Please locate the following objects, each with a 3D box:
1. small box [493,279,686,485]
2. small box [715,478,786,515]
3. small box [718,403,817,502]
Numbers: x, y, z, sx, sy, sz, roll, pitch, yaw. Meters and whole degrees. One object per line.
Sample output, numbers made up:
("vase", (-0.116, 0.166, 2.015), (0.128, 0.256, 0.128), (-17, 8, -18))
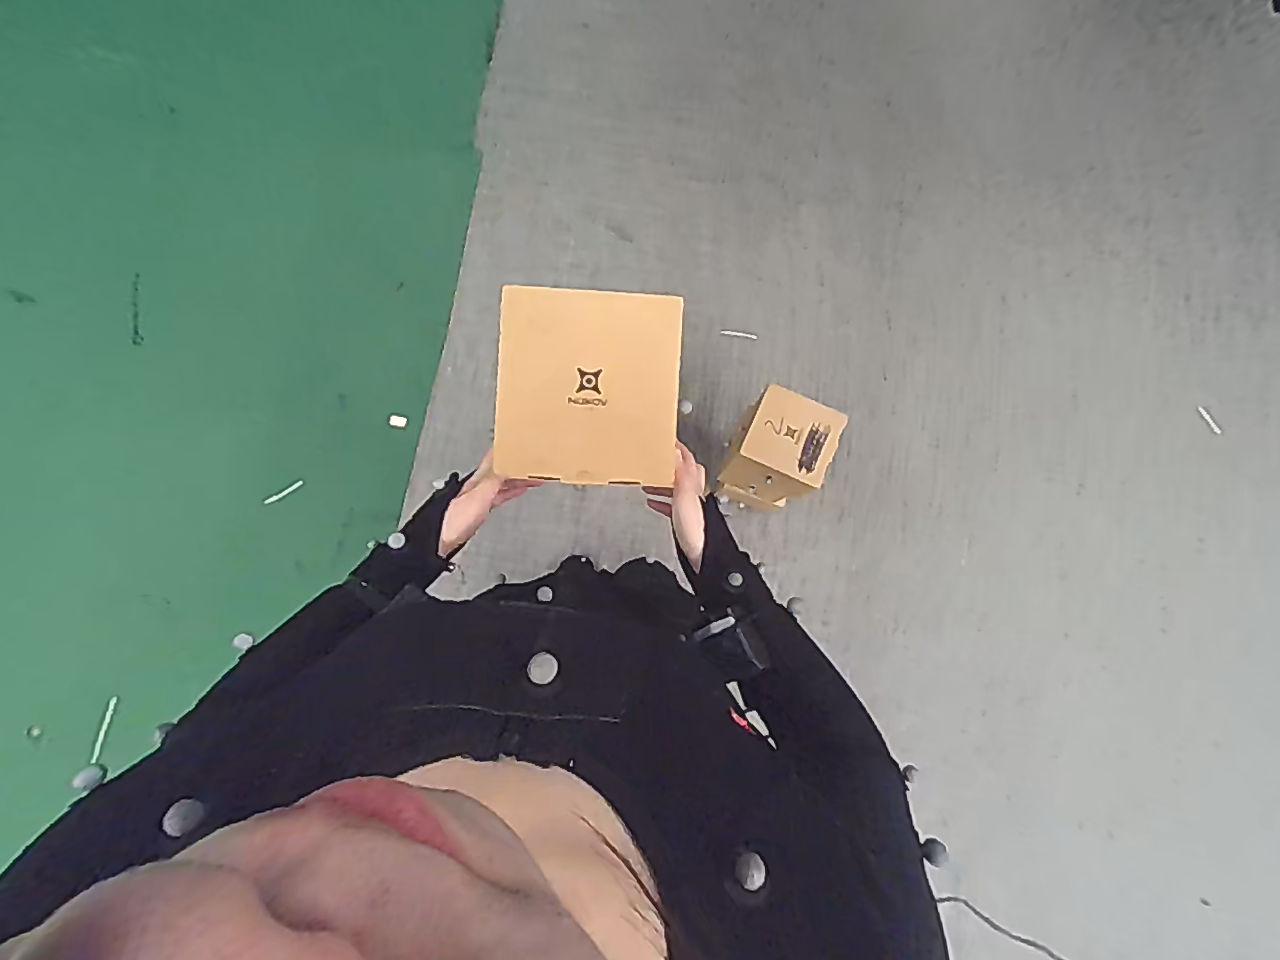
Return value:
("small box", (-0.049, -0.088, 0.560), (0.168, 0.176, 0.179), (3, 92, -3))
("small box", (0.313, -0.016, 1.469), (0.168, 0.176, 0.179), (19, 81, 3))
("small box", (0.299, -0.058, 1.311), (0.168, 0.176, 0.179), (23, 82, 3))
